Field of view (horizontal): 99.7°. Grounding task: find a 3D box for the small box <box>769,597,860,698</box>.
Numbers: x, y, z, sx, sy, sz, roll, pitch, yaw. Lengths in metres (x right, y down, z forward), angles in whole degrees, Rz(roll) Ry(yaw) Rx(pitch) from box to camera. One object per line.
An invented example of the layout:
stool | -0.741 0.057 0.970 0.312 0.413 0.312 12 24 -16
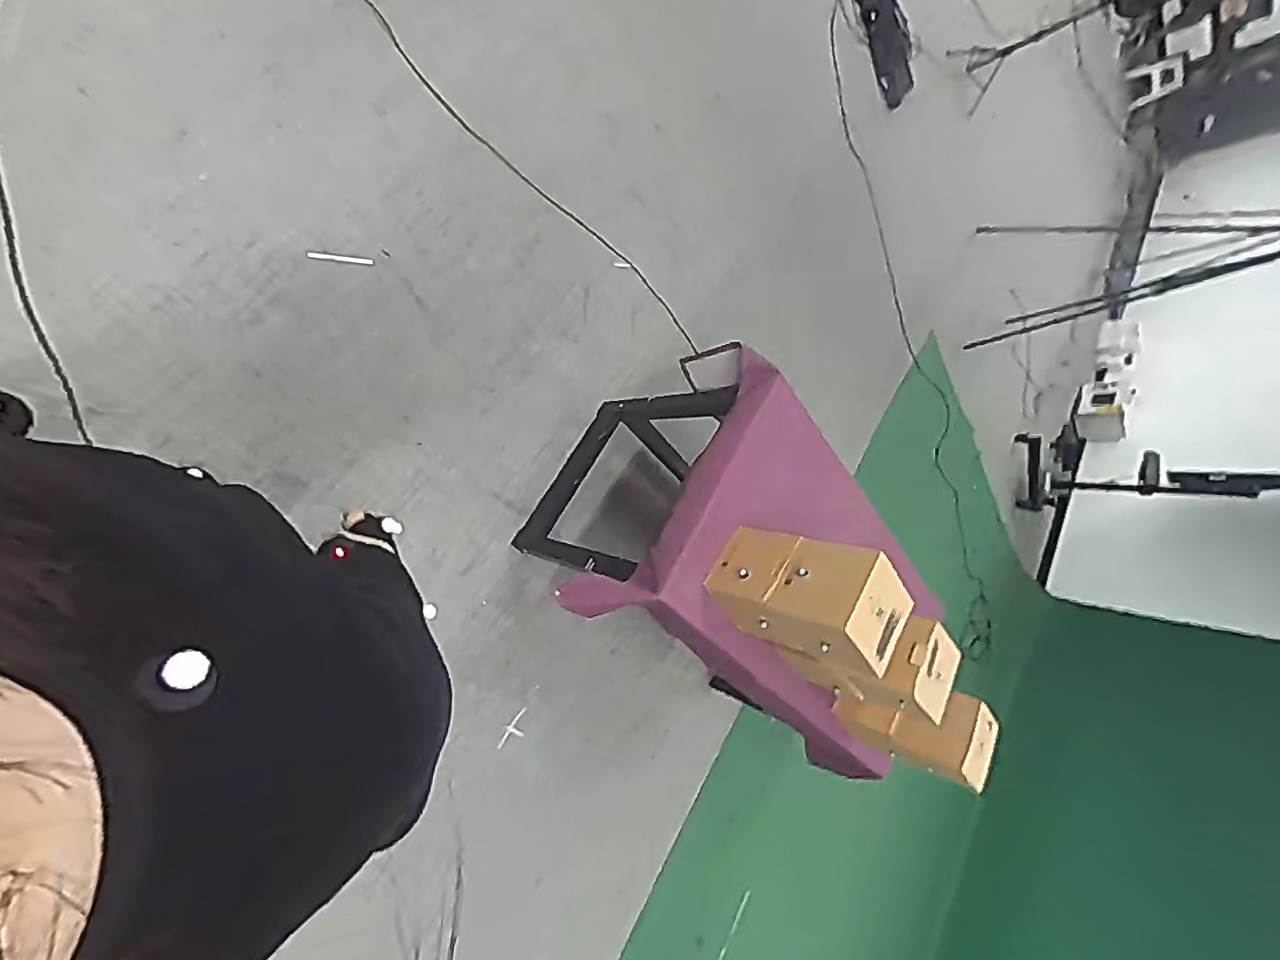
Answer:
small box | 0.448 0.392 1.315 0.179 0.176 0.168 48 64 -31

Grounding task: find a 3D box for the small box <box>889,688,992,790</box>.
small box | 0.761 0.639 1.378 0.168 0.176 0.179 48 65 -32

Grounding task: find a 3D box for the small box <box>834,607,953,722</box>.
small box | 0.556 0.396 1.191 0.179 0.176 0.168 45 66 -33

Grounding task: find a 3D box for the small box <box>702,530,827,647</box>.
small box | 0.263 0.221 1.152 0.168 0.176 0.179 -52 123 -23

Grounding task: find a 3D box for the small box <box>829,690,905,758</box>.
small box | 0.654 0.629 1.503 0.168 0.176 0.179 -53 123 -23
